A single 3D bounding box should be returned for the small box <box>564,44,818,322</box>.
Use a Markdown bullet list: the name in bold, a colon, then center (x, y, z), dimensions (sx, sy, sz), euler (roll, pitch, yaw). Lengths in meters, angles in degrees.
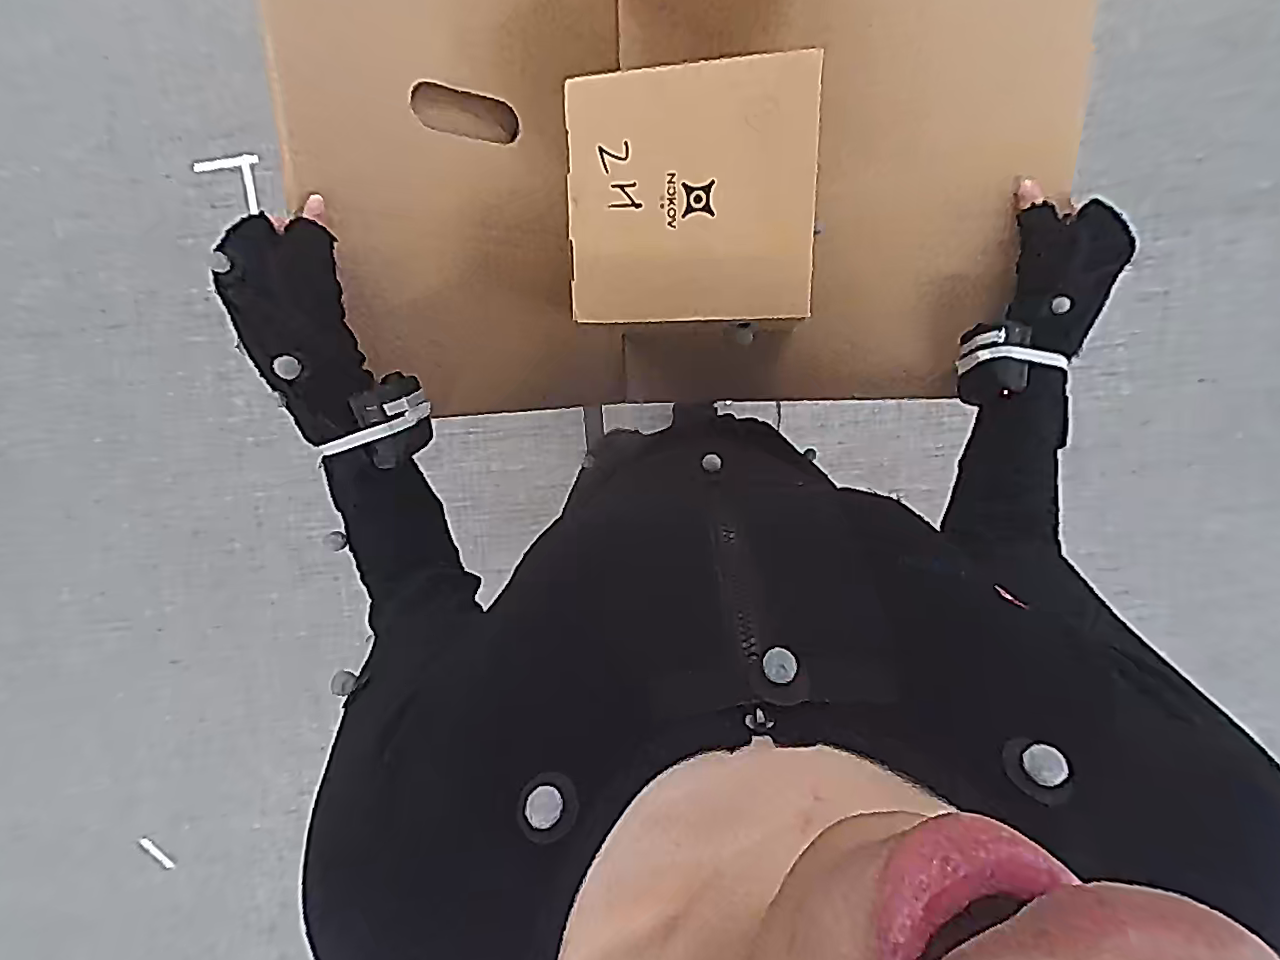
- **small box**: center (0.047, -0.227, 0.462), dimensions (0.179, 0.176, 0.168), euler (2, 103, 12)
